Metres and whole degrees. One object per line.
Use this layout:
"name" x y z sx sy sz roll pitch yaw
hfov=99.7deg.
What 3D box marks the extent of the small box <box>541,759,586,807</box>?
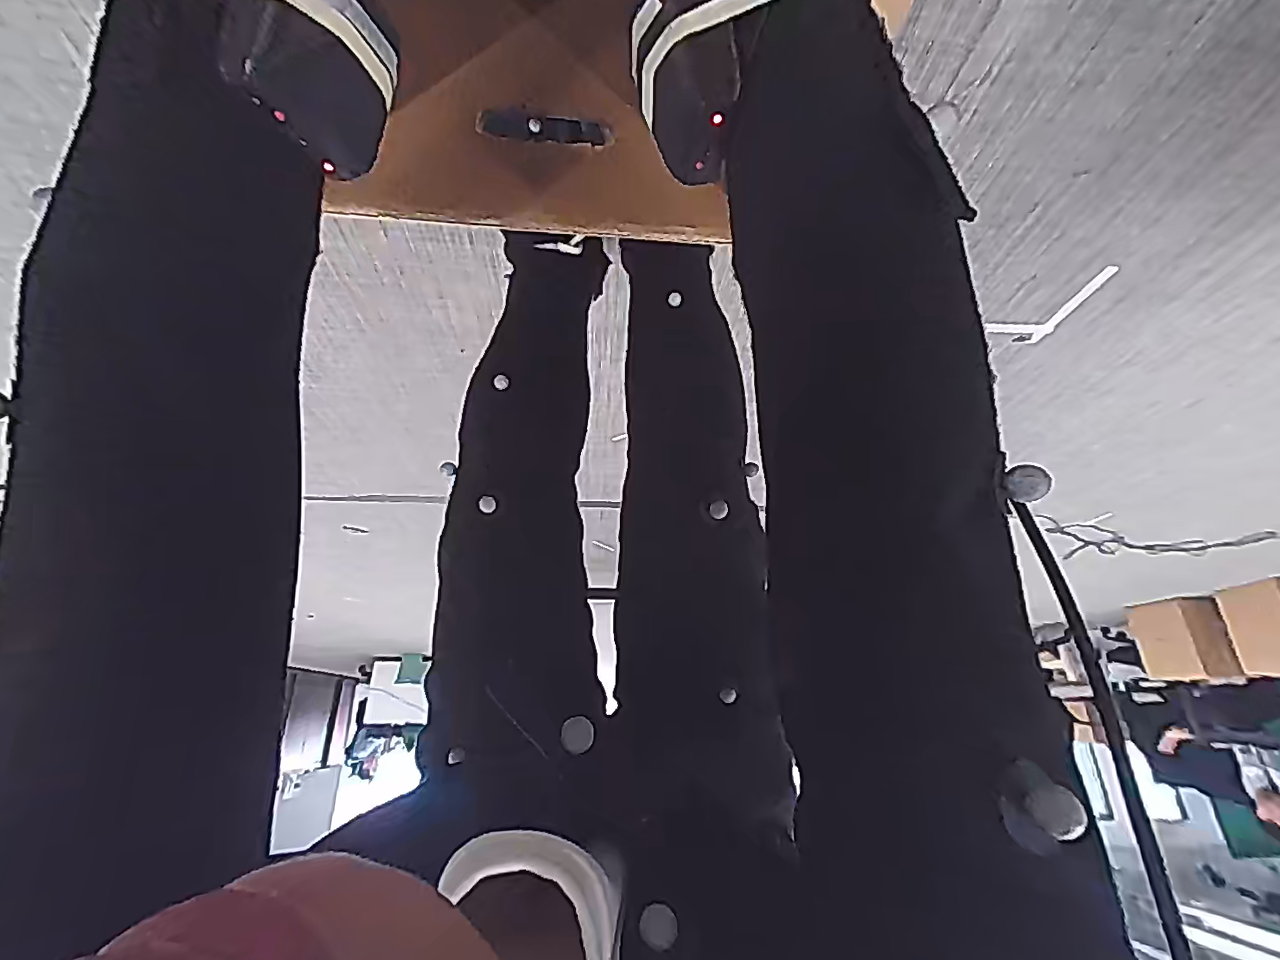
"small box" -0.323 1.283 2.295 0.179 0.176 0.168 2 155 -5
